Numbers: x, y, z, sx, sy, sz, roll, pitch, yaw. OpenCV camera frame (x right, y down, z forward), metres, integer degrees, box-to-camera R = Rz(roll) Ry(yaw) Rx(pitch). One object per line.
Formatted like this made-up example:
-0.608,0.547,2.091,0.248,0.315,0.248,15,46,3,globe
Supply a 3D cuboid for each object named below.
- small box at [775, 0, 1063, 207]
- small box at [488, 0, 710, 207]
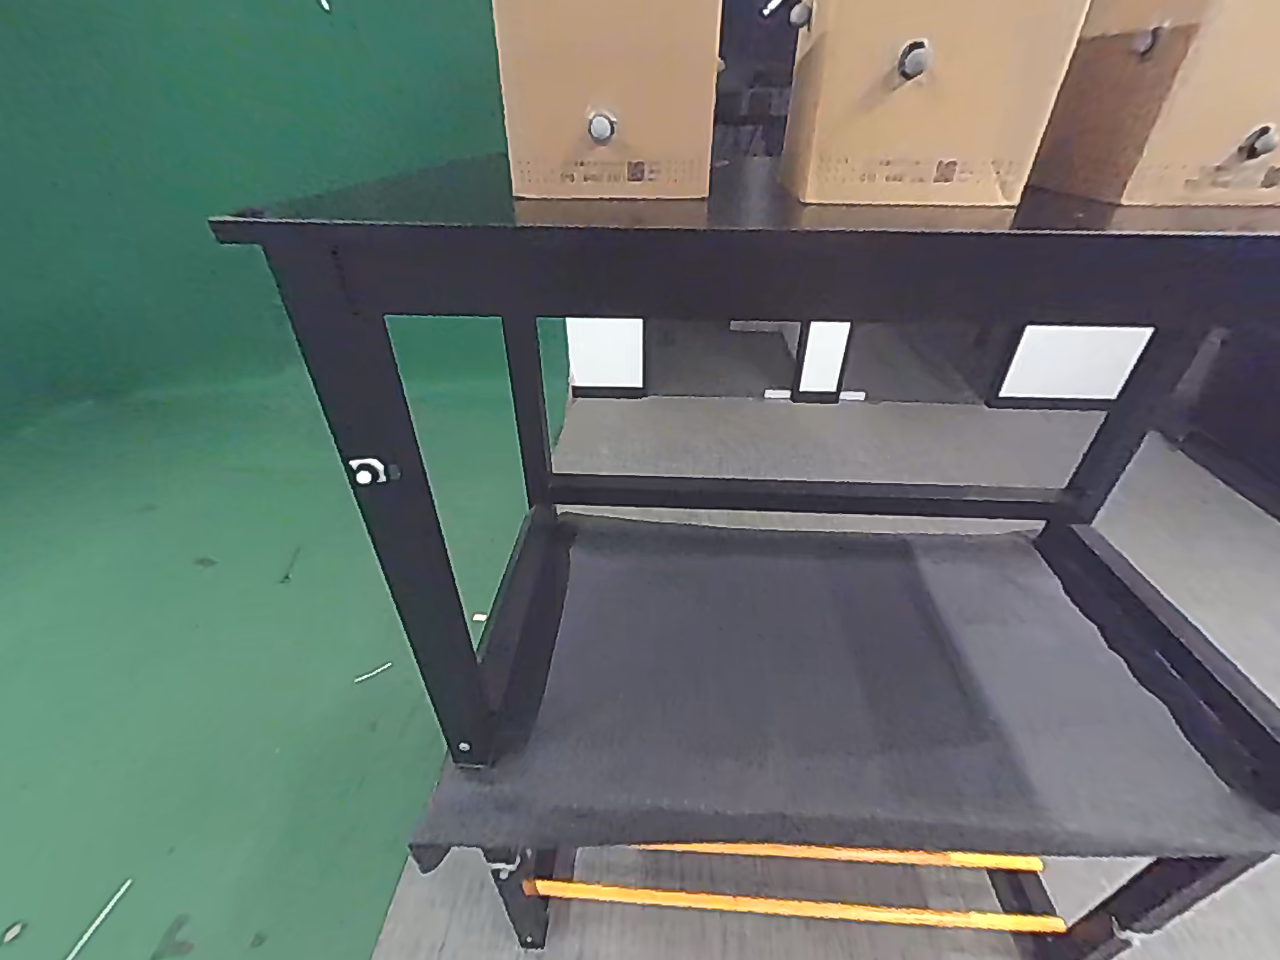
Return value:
0.212,-0.329,0.449,0.168,0.176,0.179,3,34,5,small box
-0.031,-0.350,0.481,0.168,0.176,0.179,0,35,1,small box
